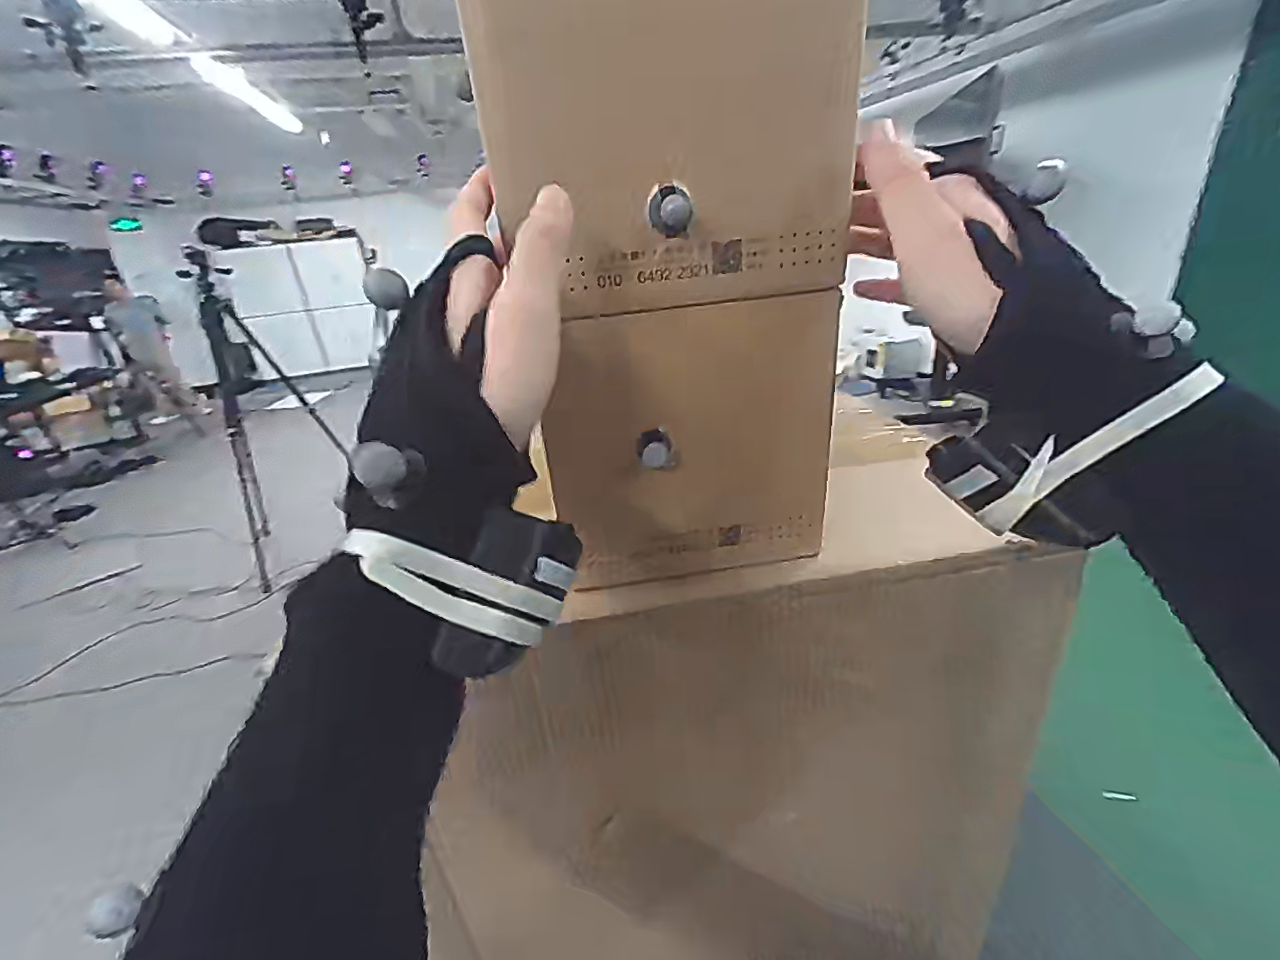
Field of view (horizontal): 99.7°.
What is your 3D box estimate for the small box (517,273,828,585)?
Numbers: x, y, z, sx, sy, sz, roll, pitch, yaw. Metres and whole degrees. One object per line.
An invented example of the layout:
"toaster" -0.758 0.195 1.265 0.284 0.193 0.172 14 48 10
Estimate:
"small box" 0.018 -0.040 0.383 0.168 0.176 0.179 -8 26 -4
